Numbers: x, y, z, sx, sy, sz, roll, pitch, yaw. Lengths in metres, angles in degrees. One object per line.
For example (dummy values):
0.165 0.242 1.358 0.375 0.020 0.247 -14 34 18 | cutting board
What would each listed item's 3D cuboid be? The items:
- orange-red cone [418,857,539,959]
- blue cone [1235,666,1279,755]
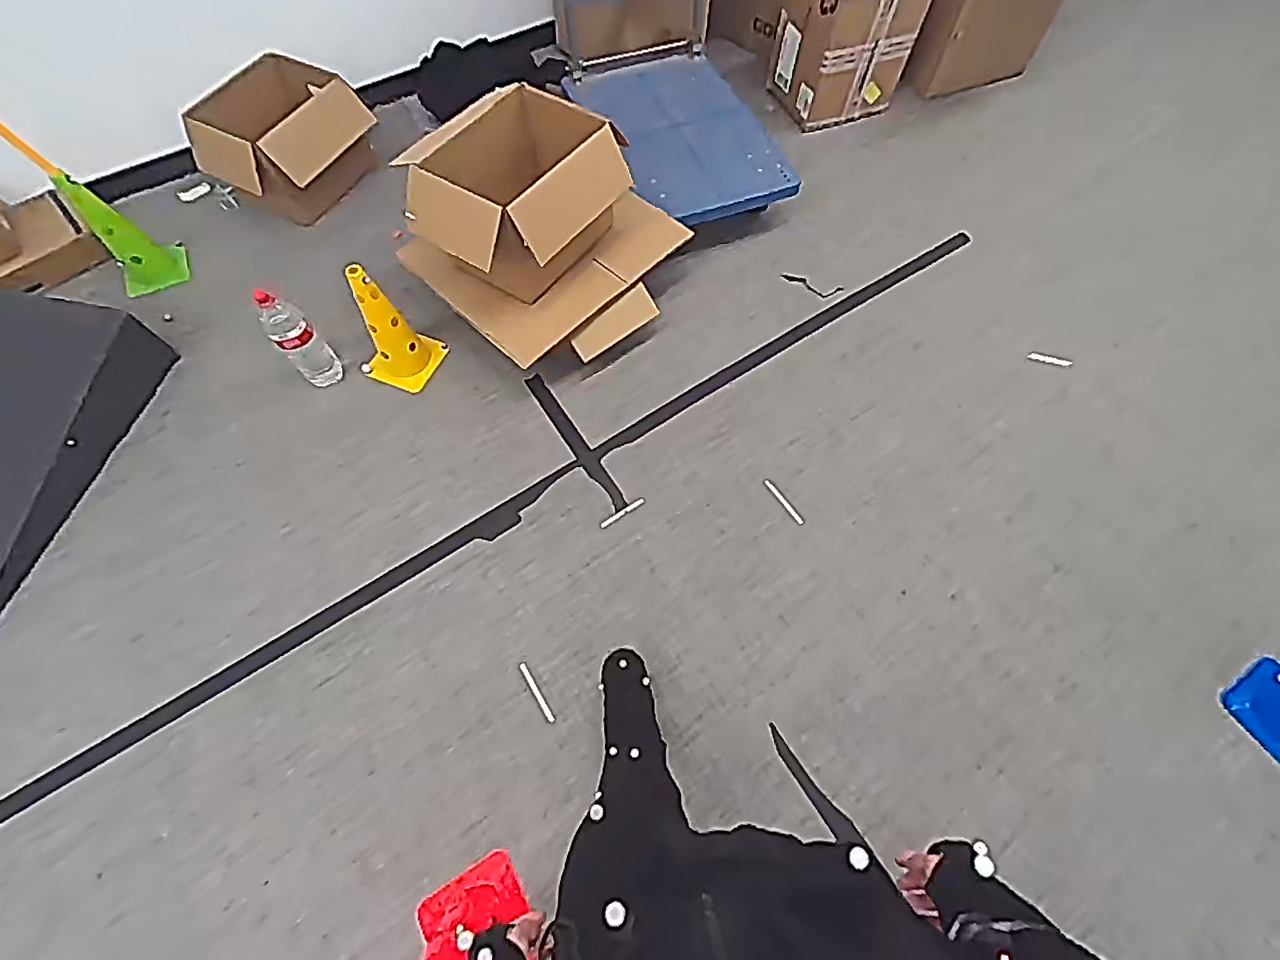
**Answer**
-0.318 0.810 0.905 0.198 0.360 0.199 -28 67 -13 | orange-red cone
1.489 0.475 1.089 0.193 0.380 0.192 -28 68 -12 | blue cone
